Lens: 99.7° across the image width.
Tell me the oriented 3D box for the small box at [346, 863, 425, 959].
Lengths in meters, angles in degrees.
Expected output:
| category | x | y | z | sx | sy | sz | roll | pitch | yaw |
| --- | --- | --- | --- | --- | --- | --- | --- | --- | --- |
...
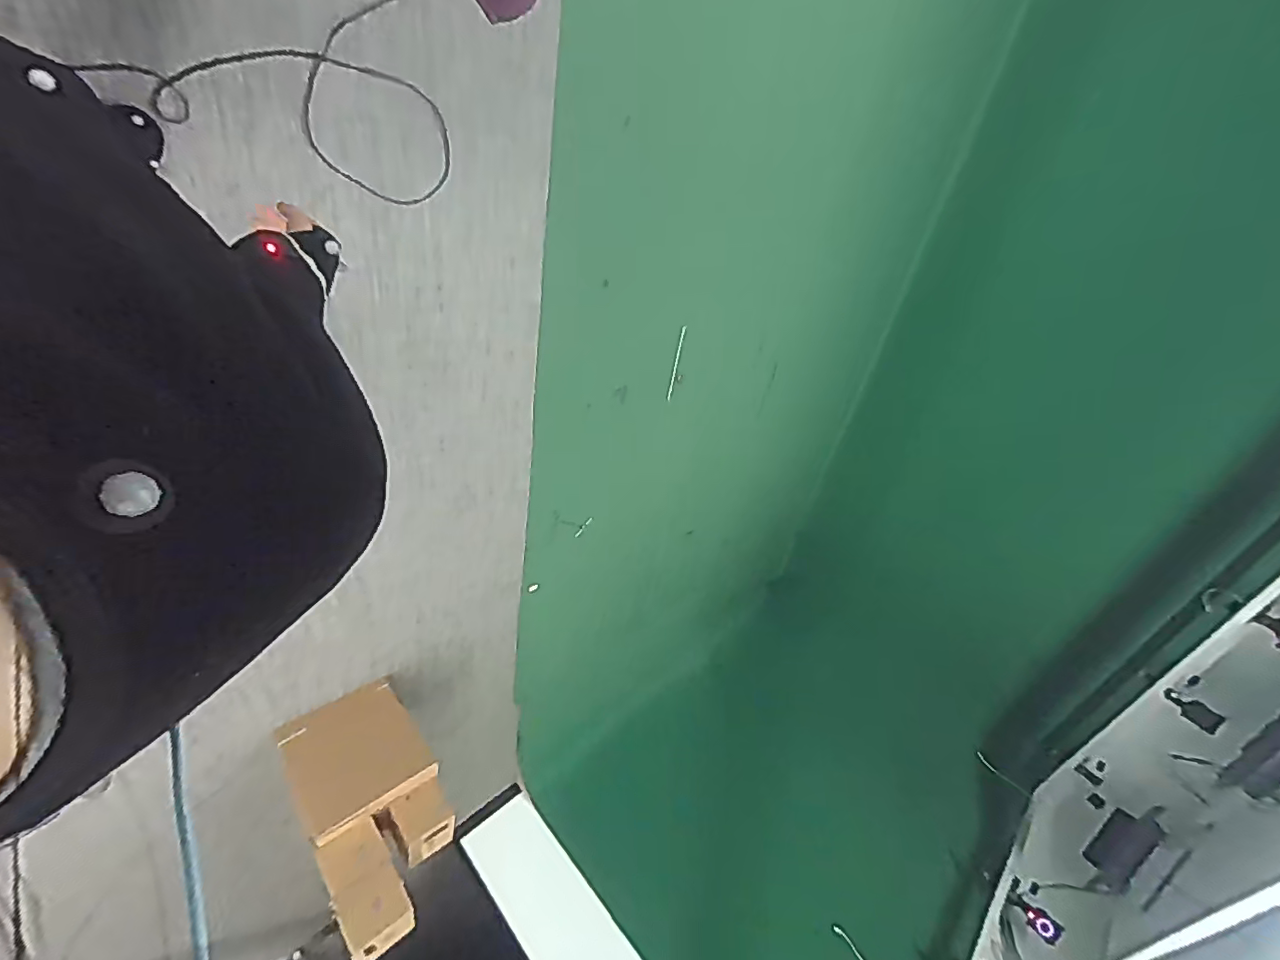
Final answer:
| category | x | y | z | sx | sy | sz | roll | pitch | yaw |
| --- | --- | --- | --- | --- | --- | --- | --- | --- | --- |
| small box | -0.795 | 1.359 | 1.685 | 0.179 | 0.176 | 0.168 | -22 | 135 | -41 |
